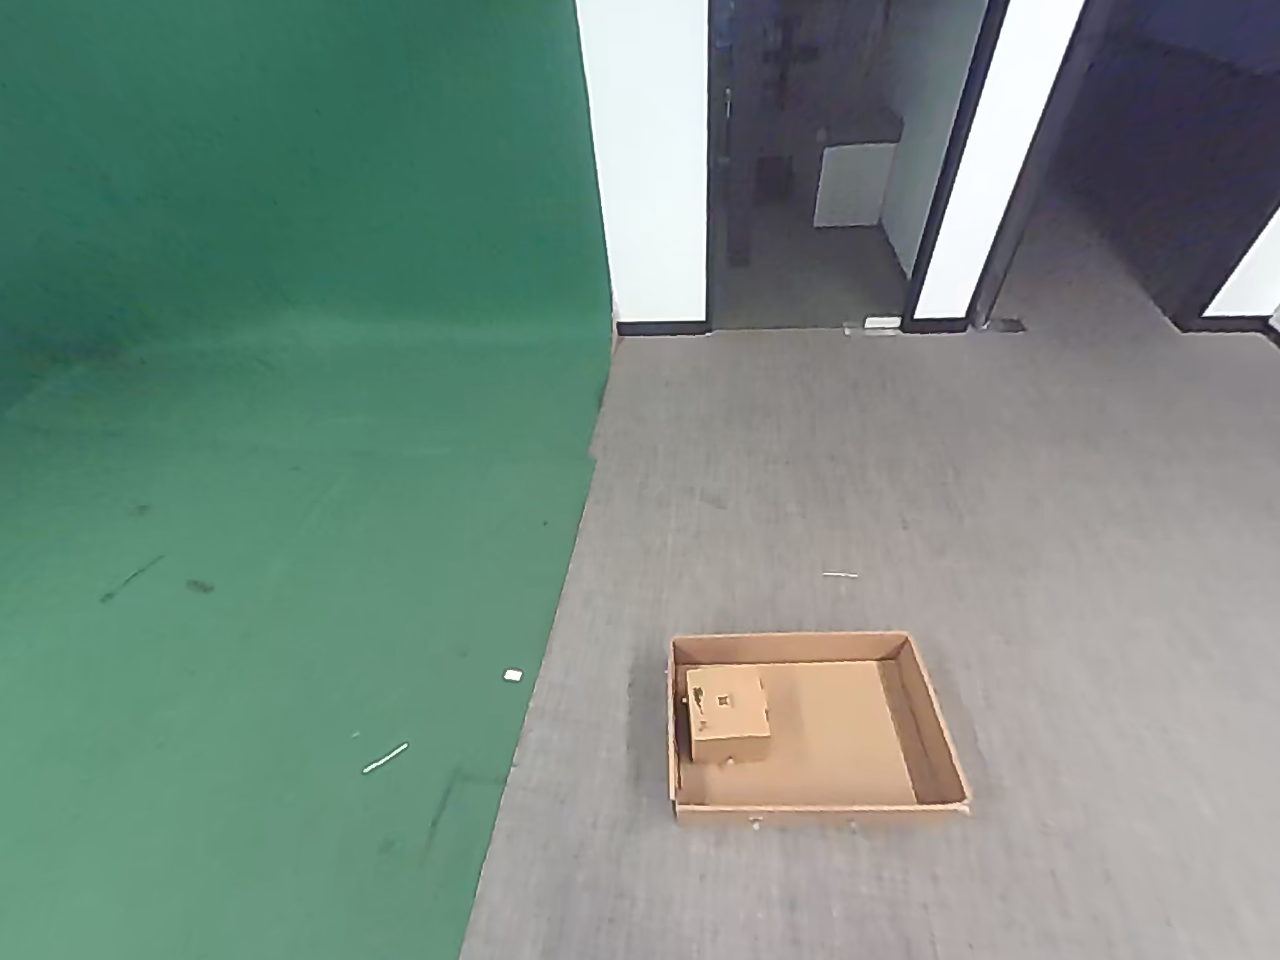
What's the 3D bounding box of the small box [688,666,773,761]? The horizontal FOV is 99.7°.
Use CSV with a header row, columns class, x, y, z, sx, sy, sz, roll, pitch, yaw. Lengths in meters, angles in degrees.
class,x,y,z,sx,sy,sz,roll,pitch,yaw
small box,0.210,0.567,1.309,0.179,0.176,0.168,-3,45,1
